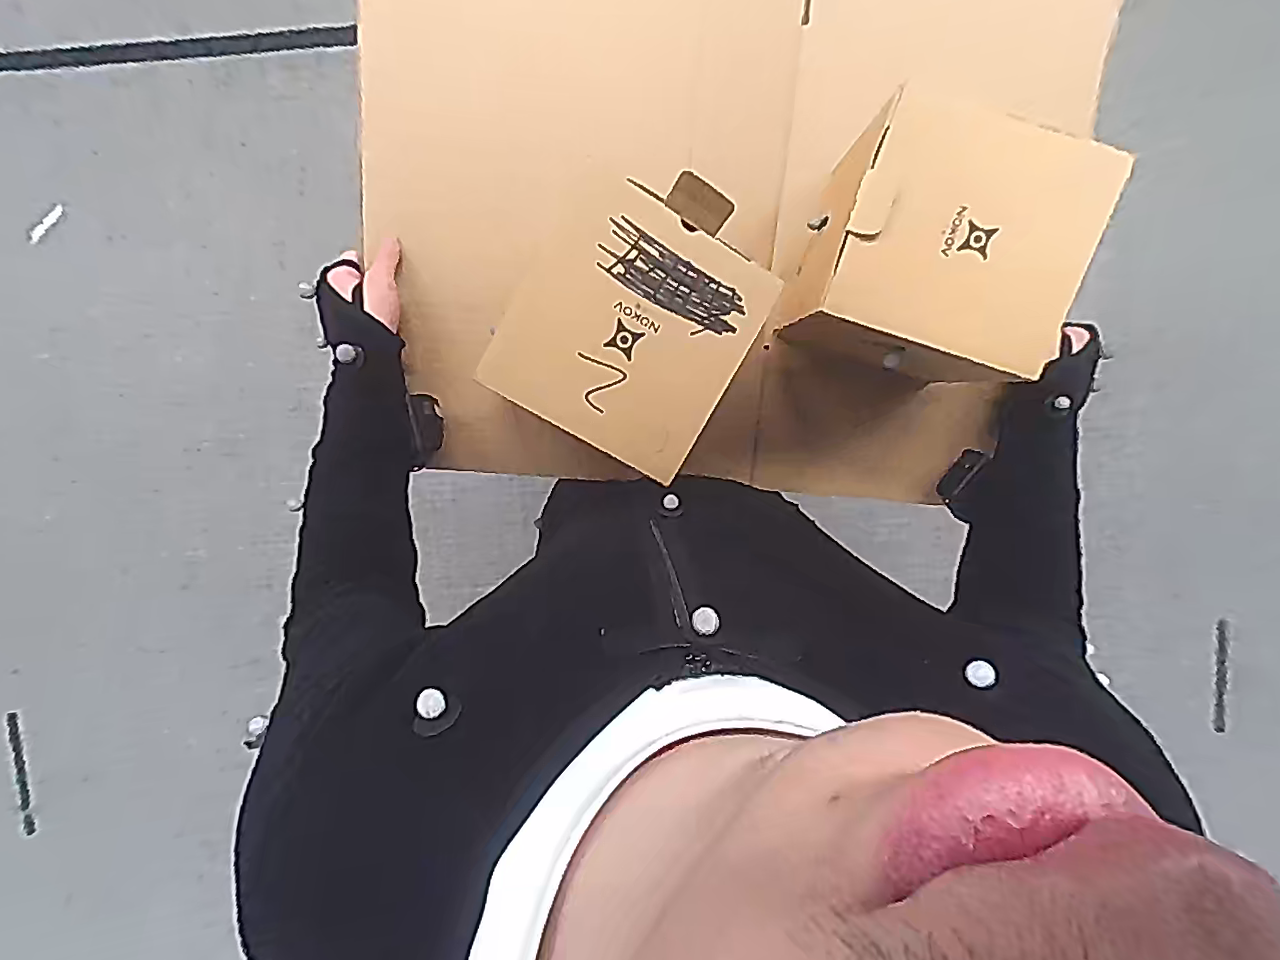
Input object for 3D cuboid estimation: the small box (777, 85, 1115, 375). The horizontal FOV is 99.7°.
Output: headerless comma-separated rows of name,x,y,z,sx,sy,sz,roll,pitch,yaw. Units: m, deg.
small box,0.244,-0.200,0.484,0.179,0.176,0.168,18,101,0
